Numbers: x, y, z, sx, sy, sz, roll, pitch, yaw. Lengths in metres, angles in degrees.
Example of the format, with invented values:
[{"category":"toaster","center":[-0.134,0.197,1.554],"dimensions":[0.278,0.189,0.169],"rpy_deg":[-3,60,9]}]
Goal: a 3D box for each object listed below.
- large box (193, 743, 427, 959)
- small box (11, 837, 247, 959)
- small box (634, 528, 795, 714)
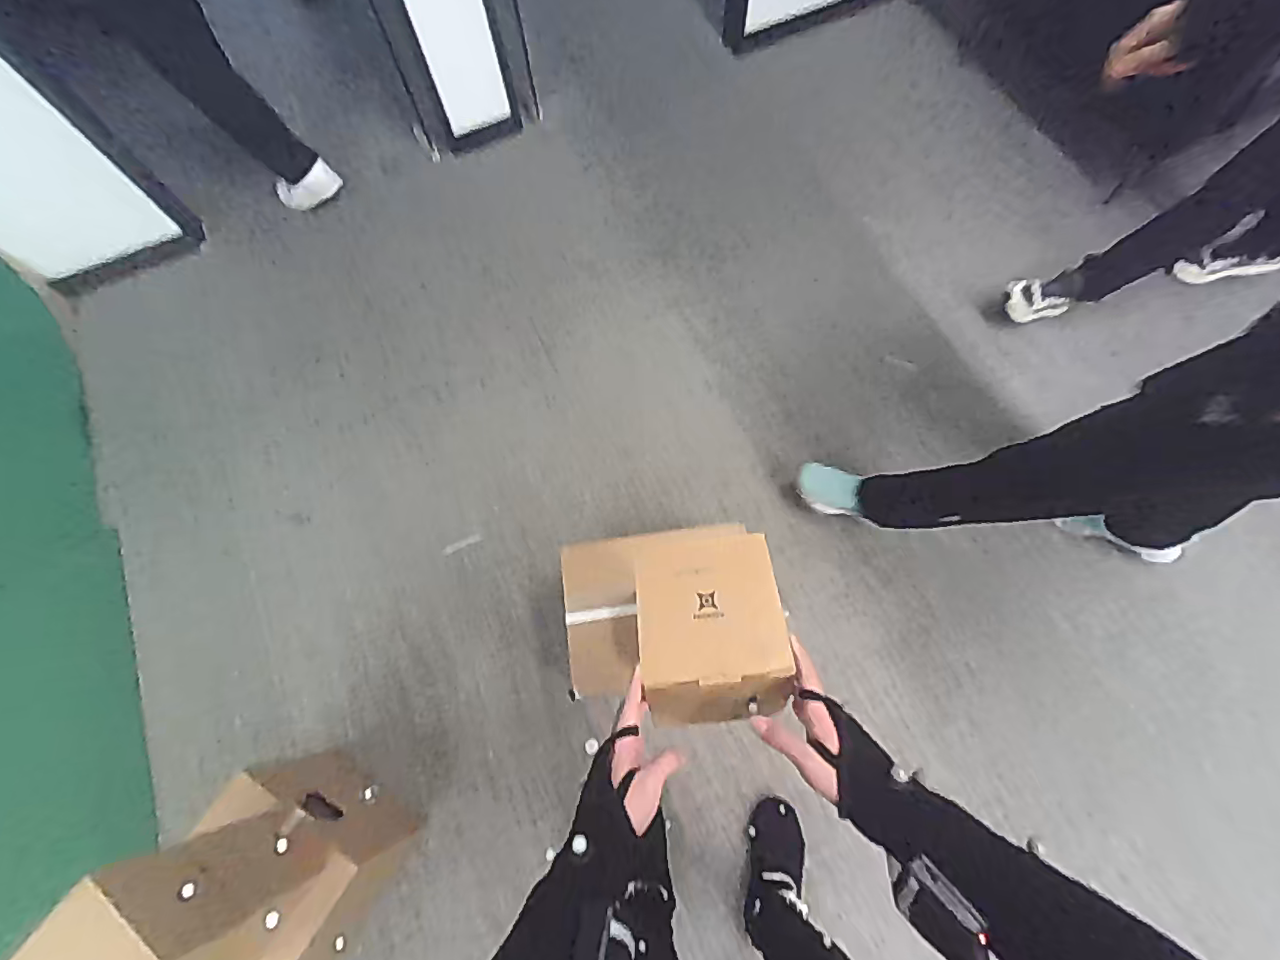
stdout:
[{"category":"large box","center":[-0.731,0.831,1.117],"dimensions":[0.320,0.320,0.408],"rpy_deg":[29,75,13]},{"category":"small box","center":[-0.696,0.641,0.747],"dimensions":[0.168,0.176,0.179],"rpy_deg":[34,75,13]},{"category":"small box","center":[0.086,0.182,0.673],"dimensions":[0.168,0.176,0.179],"rpy_deg":[-6,53,3]}]
